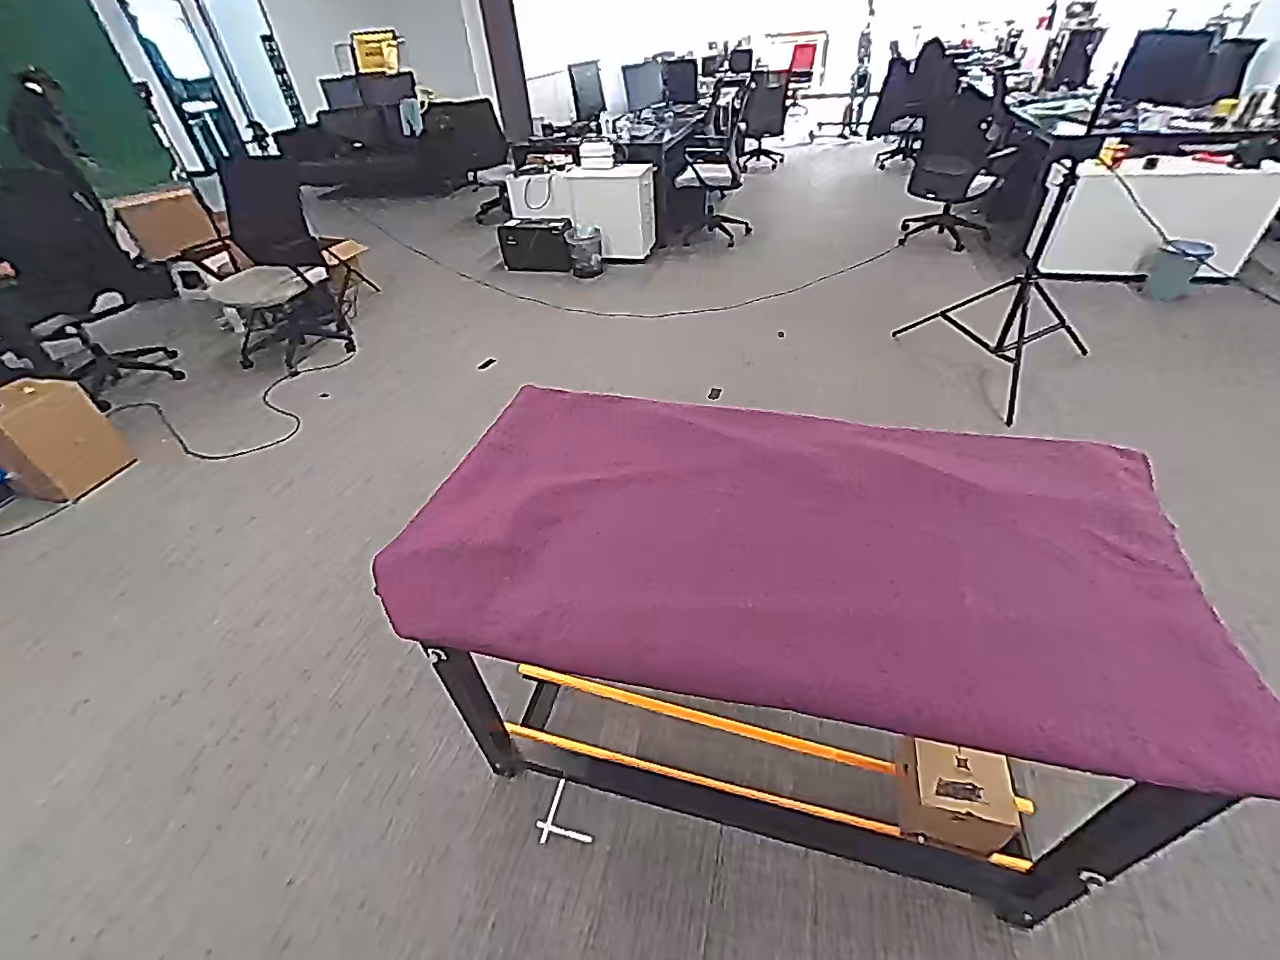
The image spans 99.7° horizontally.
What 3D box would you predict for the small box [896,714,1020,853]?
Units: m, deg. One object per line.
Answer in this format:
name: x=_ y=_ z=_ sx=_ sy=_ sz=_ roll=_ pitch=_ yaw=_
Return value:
small box: x=0.620 y=0.606 z=1.078 sx=0.168 sy=0.176 sz=0.179 roll=7 pitch=41 yaw=15
